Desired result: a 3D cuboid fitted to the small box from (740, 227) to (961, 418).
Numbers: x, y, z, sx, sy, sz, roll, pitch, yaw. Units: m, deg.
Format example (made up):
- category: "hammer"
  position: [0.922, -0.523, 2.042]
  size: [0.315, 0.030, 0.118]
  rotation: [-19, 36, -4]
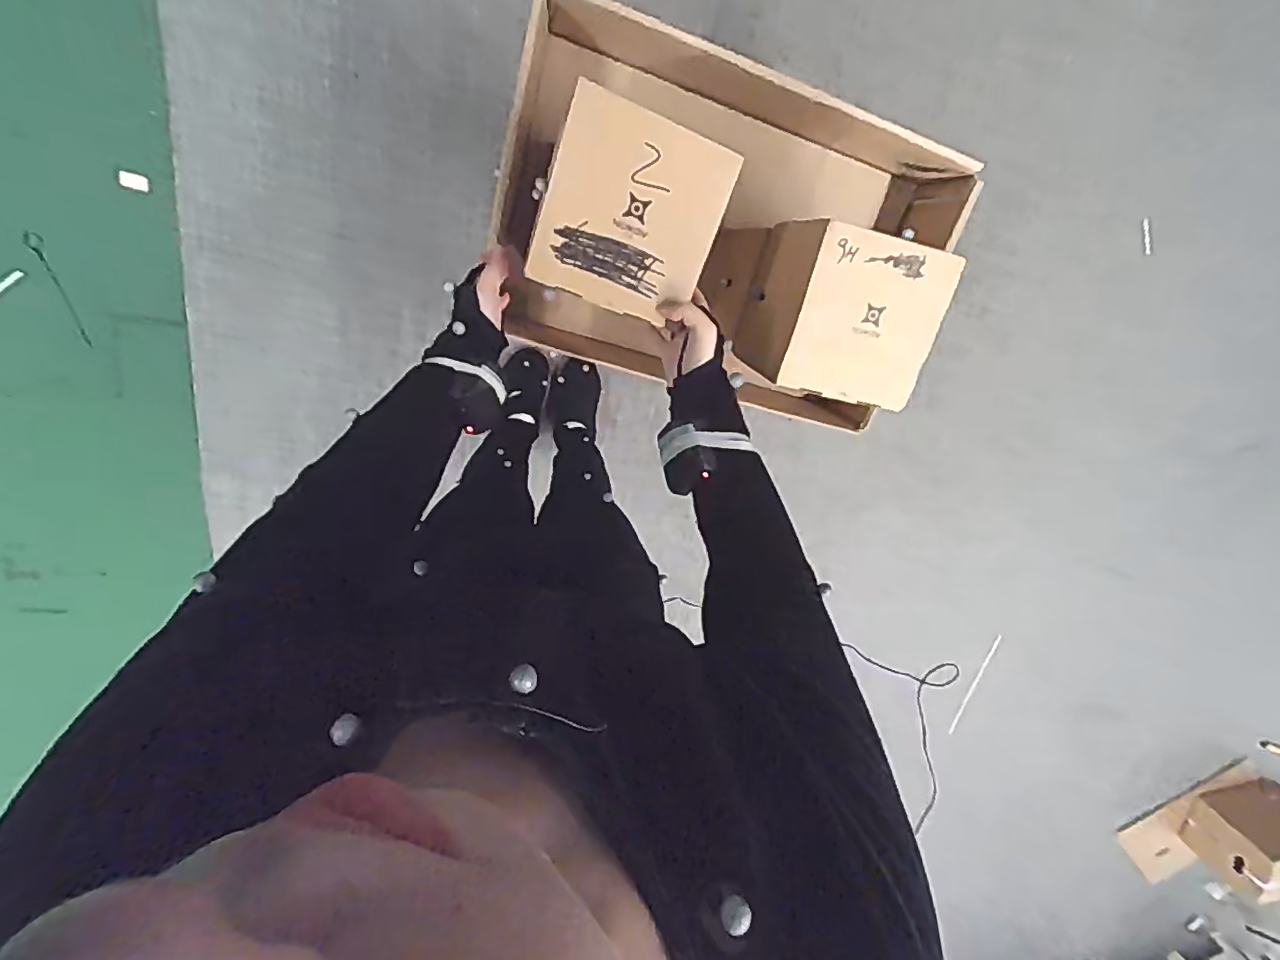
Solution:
- category: "small box"
  position: [0.239, -0.198, 0.668]
  size: [0.168, 0.176, 0.179]
  rotation: [11, 112, -13]
